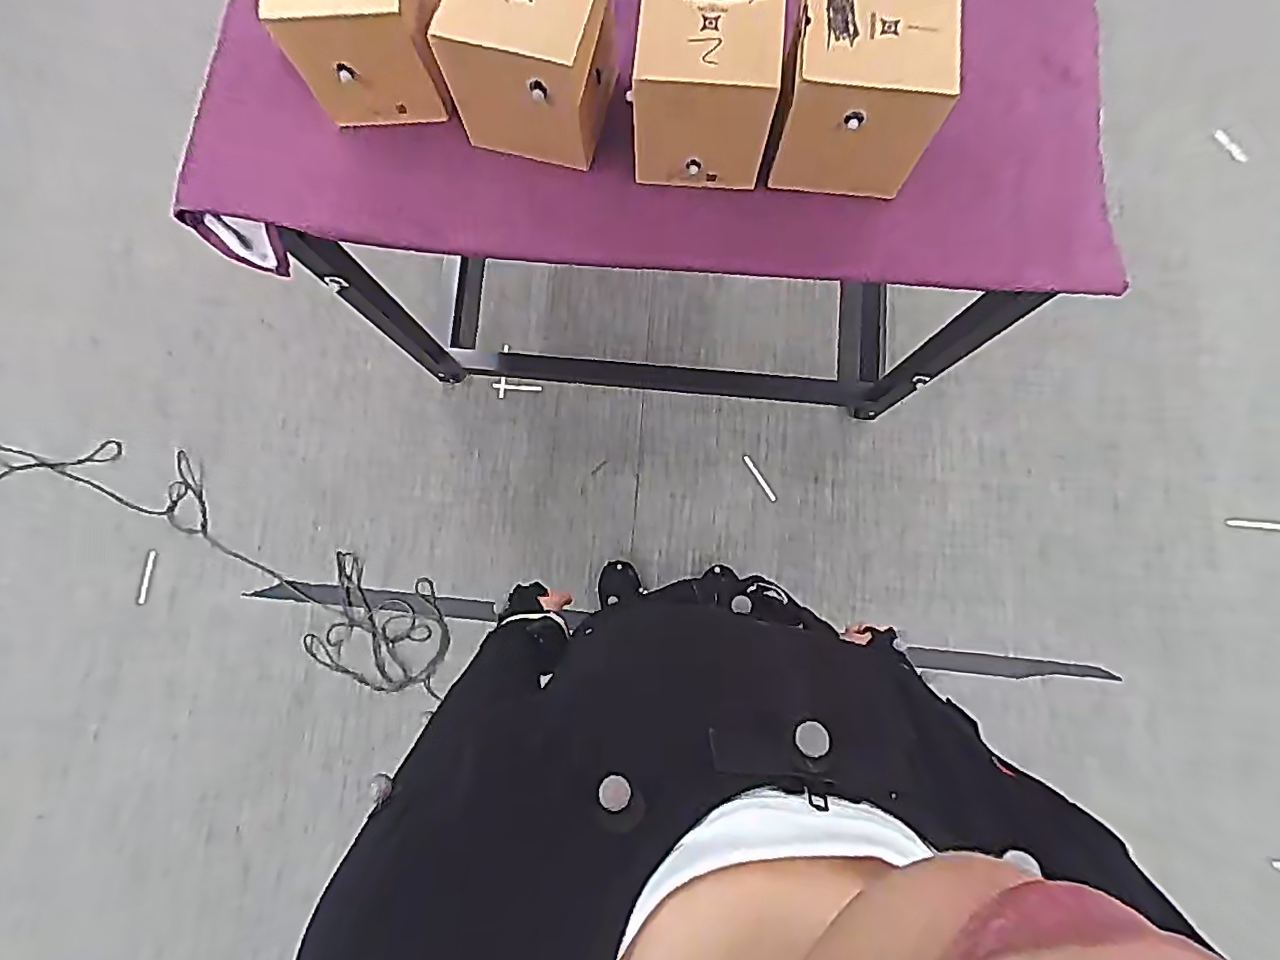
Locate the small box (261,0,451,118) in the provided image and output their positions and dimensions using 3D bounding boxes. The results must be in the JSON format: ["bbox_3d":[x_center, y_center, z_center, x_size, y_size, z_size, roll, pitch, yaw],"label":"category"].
[{"bbox_3d":[-0.359,-0.612,0.714,0.168,0.176,0.179,-3,82,1],"label":"small box"}]
